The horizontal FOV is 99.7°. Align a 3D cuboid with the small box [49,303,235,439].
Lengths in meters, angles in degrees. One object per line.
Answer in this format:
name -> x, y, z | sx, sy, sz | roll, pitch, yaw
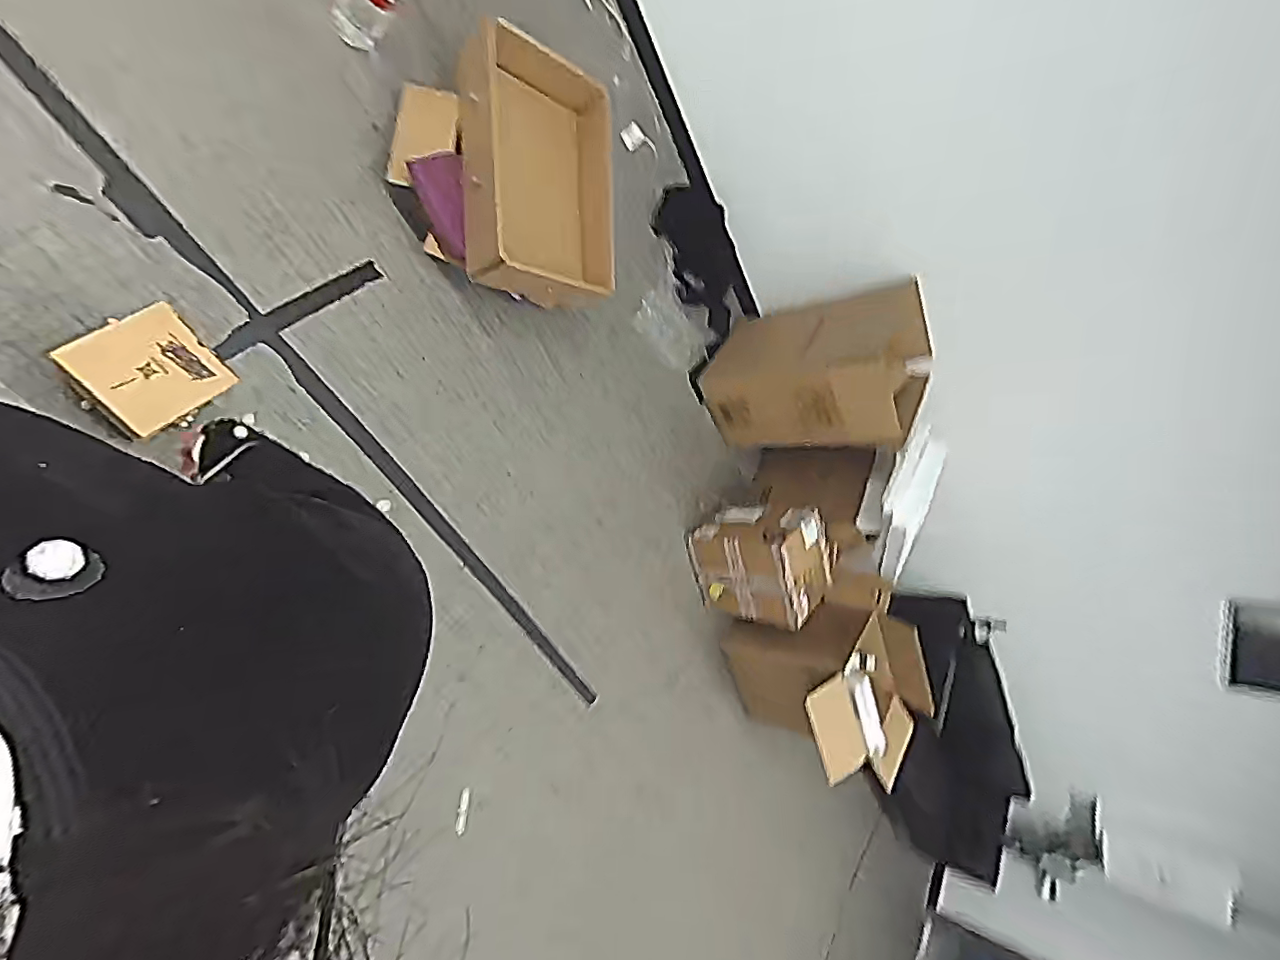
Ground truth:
small box -> -0.879, -0.187, 0.958 | 0.179, 0.176, 0.168 | -50, 124, -33
